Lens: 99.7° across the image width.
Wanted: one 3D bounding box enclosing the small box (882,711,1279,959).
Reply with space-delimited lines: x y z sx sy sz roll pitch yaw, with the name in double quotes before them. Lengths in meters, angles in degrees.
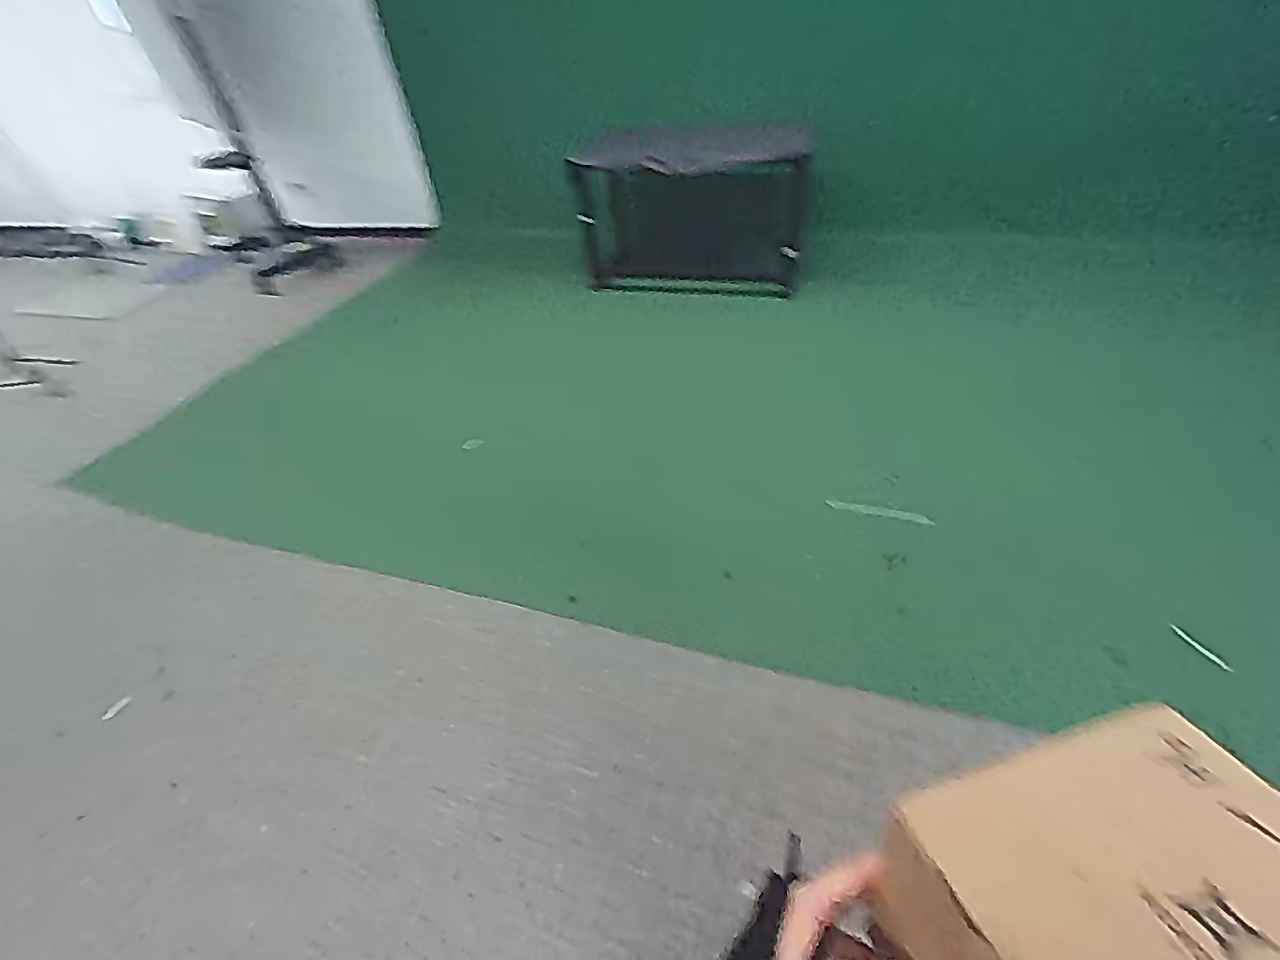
"small box" 0.245 0.259 0.273 0.179 0.176 0.168 -14 33 -7
